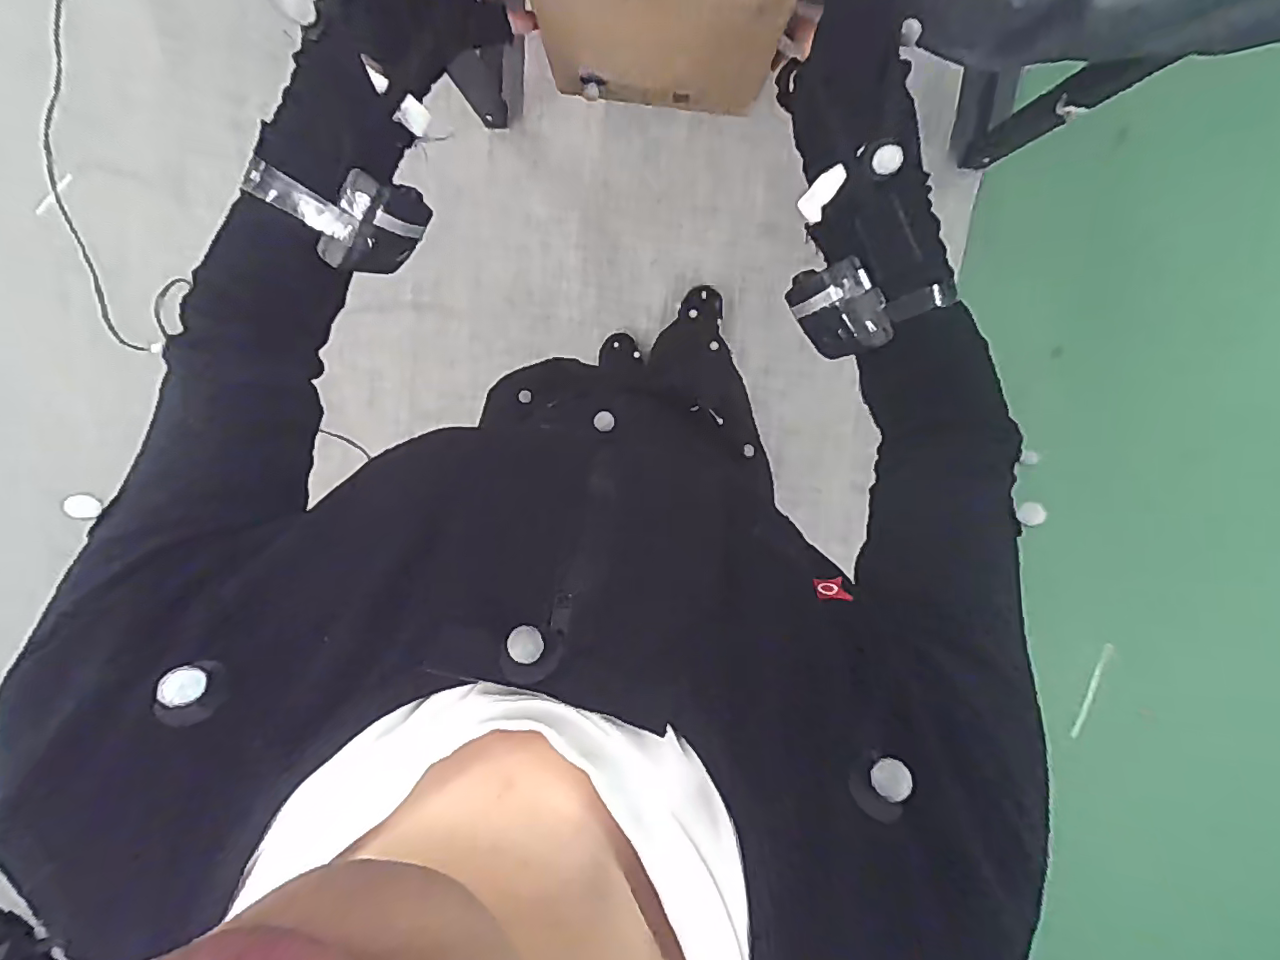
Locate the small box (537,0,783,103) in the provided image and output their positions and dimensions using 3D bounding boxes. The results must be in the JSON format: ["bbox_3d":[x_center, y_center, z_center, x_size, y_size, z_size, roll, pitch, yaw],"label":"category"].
[{"bbox_3d":[0.022,-0.389,0.359,0.168,0.176,0.179,7,99,-1],"label":"small box"}]
